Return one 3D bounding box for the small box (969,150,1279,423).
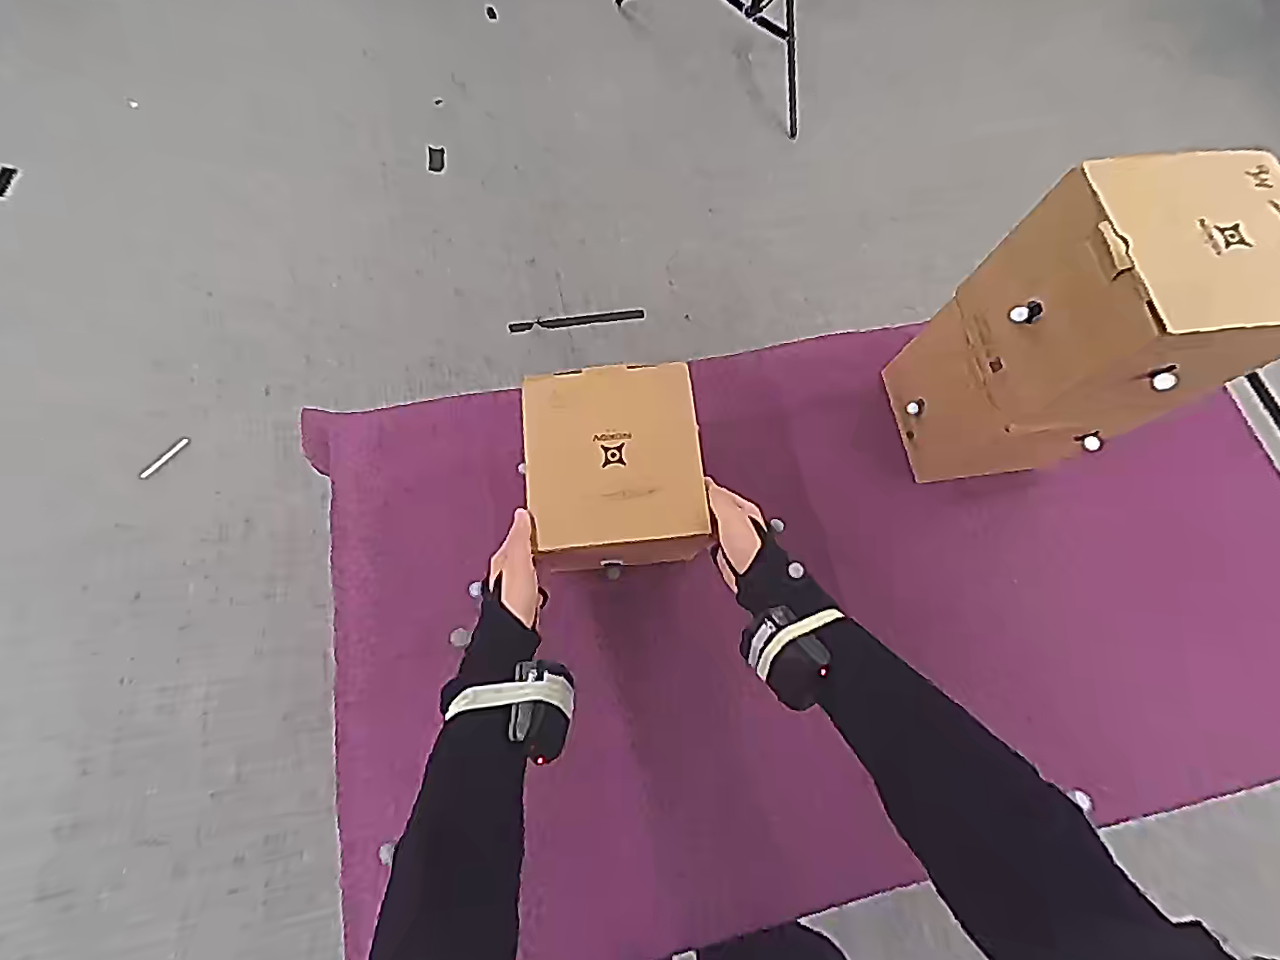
[{"bbox_3d":[0.438,-0.162,0.493,0.179,0.176,0.168,-6,72,-4],"label":"small box"}]

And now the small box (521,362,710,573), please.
[{"bbox_3d":[-0.027,-0.003,0.579,0.168,0.176,0.179,-6,74,-1],"label":"small box"}]

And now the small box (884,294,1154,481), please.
[{"bbox_3d":[0.430,-0.108,0.648,0.179,0.176,0.168,-7,72,-5],"label":"small box"}]
